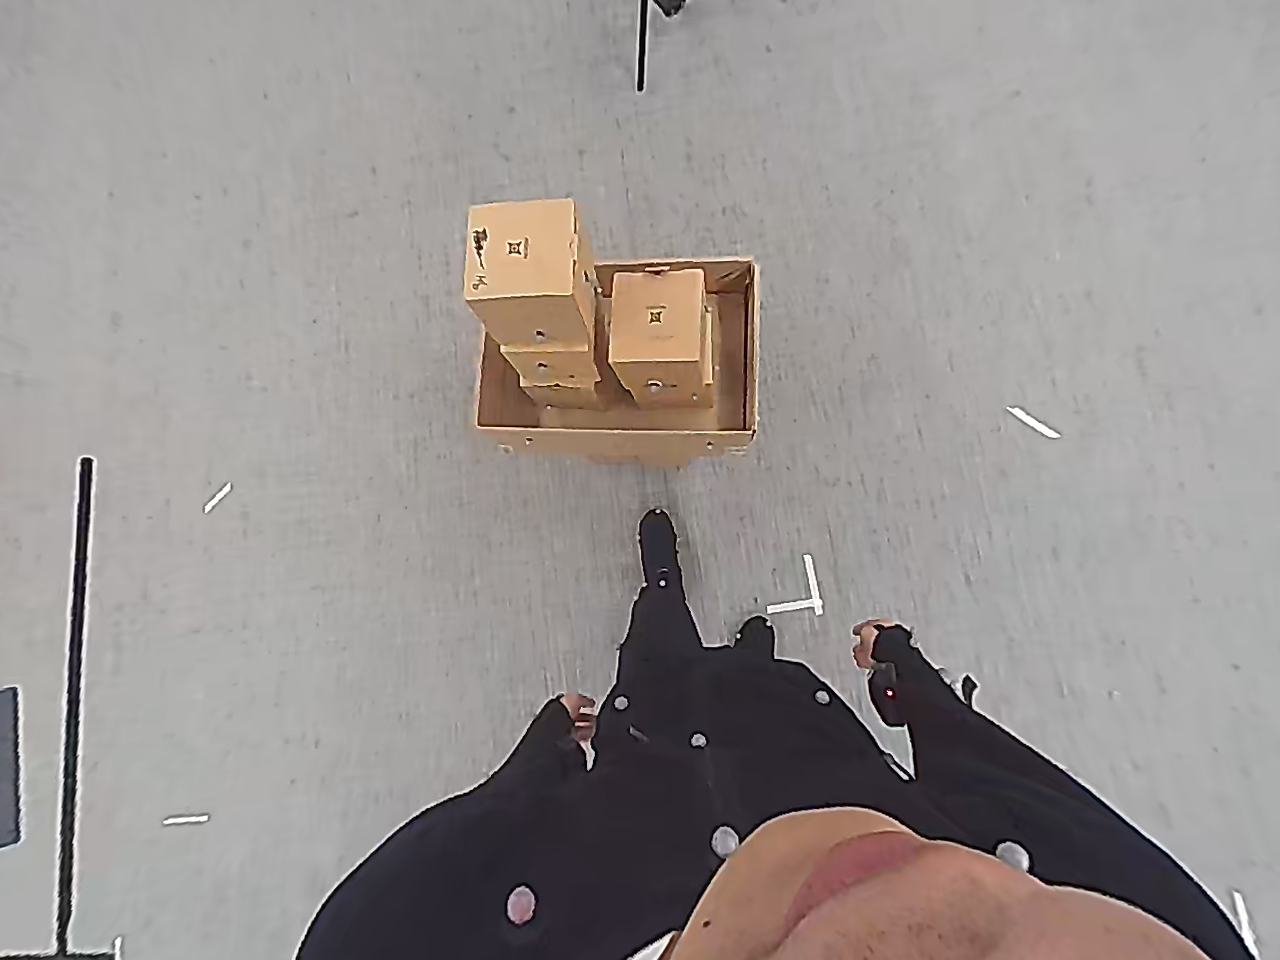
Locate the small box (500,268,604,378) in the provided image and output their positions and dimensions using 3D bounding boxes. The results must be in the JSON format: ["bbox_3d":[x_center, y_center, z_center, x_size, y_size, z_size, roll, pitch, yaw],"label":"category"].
[{"bbox_3d":[-0.167,-0.309,1.075,0.168,0.176,0.179,1,80,5],"label":"small box"}]

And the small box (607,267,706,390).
[{"bbox_3d":[0.039,-0.286,1.043,0.168,0.176,0.179,2,81,10],"label":"small box"}]

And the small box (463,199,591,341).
[{"bbox_3d":[-0.180,-0.346,0.915,0.179,0.176,0.168,0,80,4],"label":"small box"}]
